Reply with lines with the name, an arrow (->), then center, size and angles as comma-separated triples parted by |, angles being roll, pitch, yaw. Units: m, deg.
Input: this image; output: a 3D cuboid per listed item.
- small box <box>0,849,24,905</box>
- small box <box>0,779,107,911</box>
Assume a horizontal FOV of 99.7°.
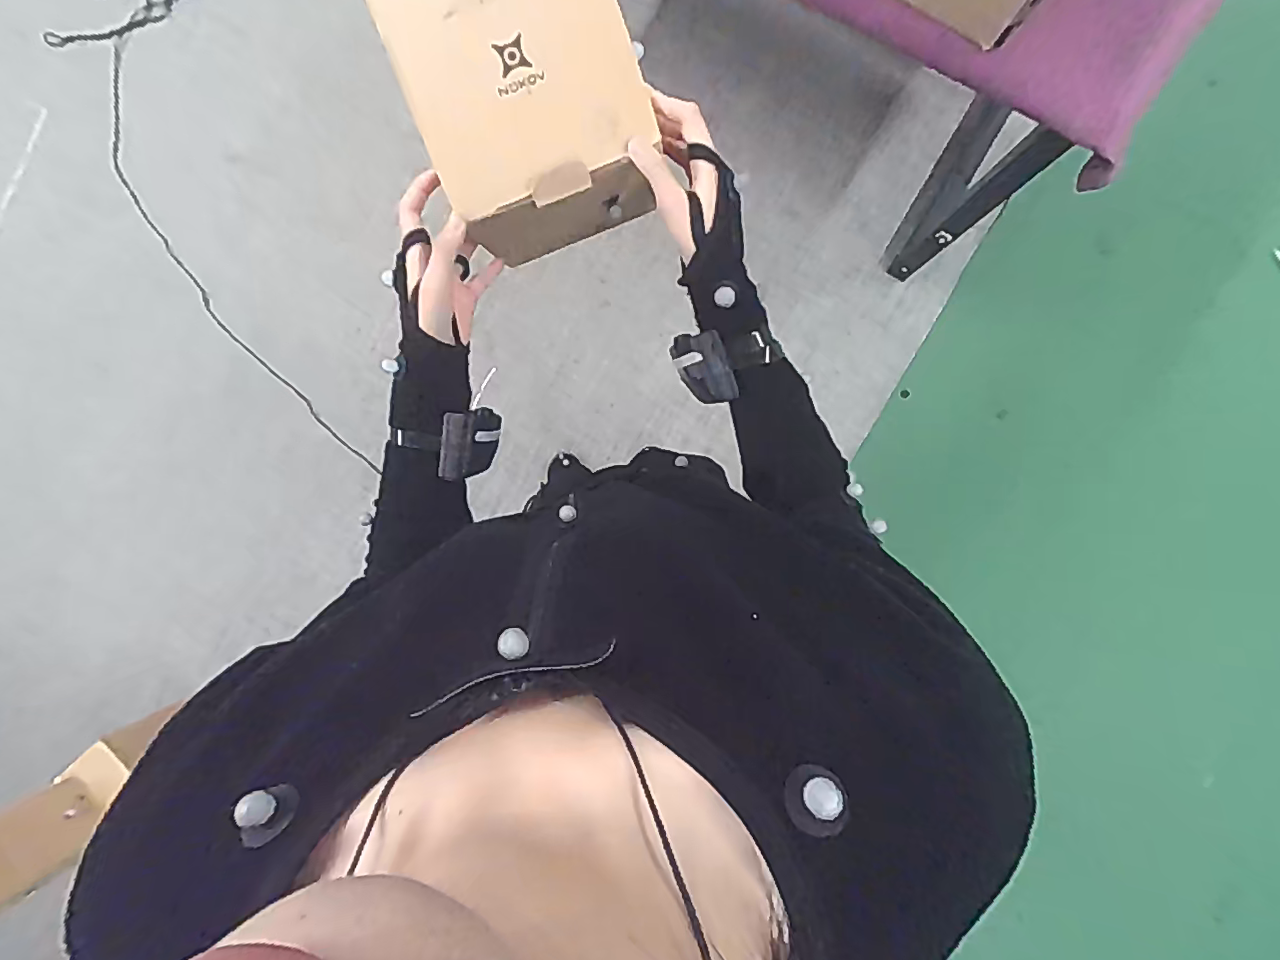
small box -> -1.407, 0.831, 1.063 | 0.168, 0.176, 0.179 | -40, 90, 5
small box -> -1.389, 0.830, 1.224 | 0.179, 0.176, 0.168 | -41, 89, 5
